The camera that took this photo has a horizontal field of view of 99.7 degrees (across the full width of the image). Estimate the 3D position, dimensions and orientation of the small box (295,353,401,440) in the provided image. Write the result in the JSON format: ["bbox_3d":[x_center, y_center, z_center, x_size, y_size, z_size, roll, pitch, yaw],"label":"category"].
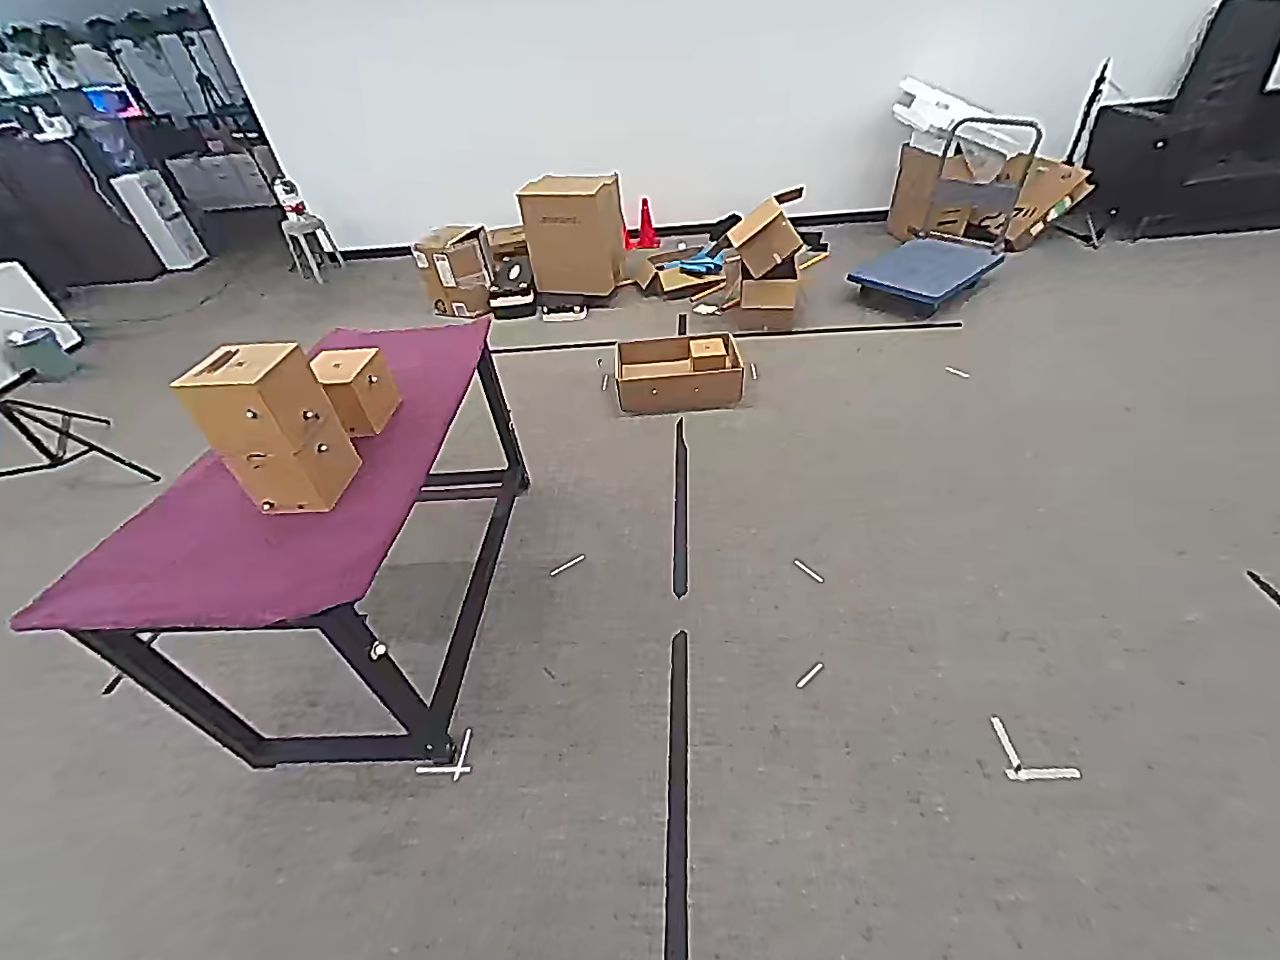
[{"bbox_3d":[-0.771,-0.224,1.453,0.168,0.176,0.179,-2,42,6],"label":"small box"}]

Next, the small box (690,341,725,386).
[{"bbox_3d":[0.344,-0.589,2.754,0.168,0.176,0.179,-4,40,2],"label":"small box"}]

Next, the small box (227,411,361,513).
[{"bbox_3d":[-0.774,-0.037,1.237,0.168,0.176,0.179,-2,40,5],"label":"small box"}]
